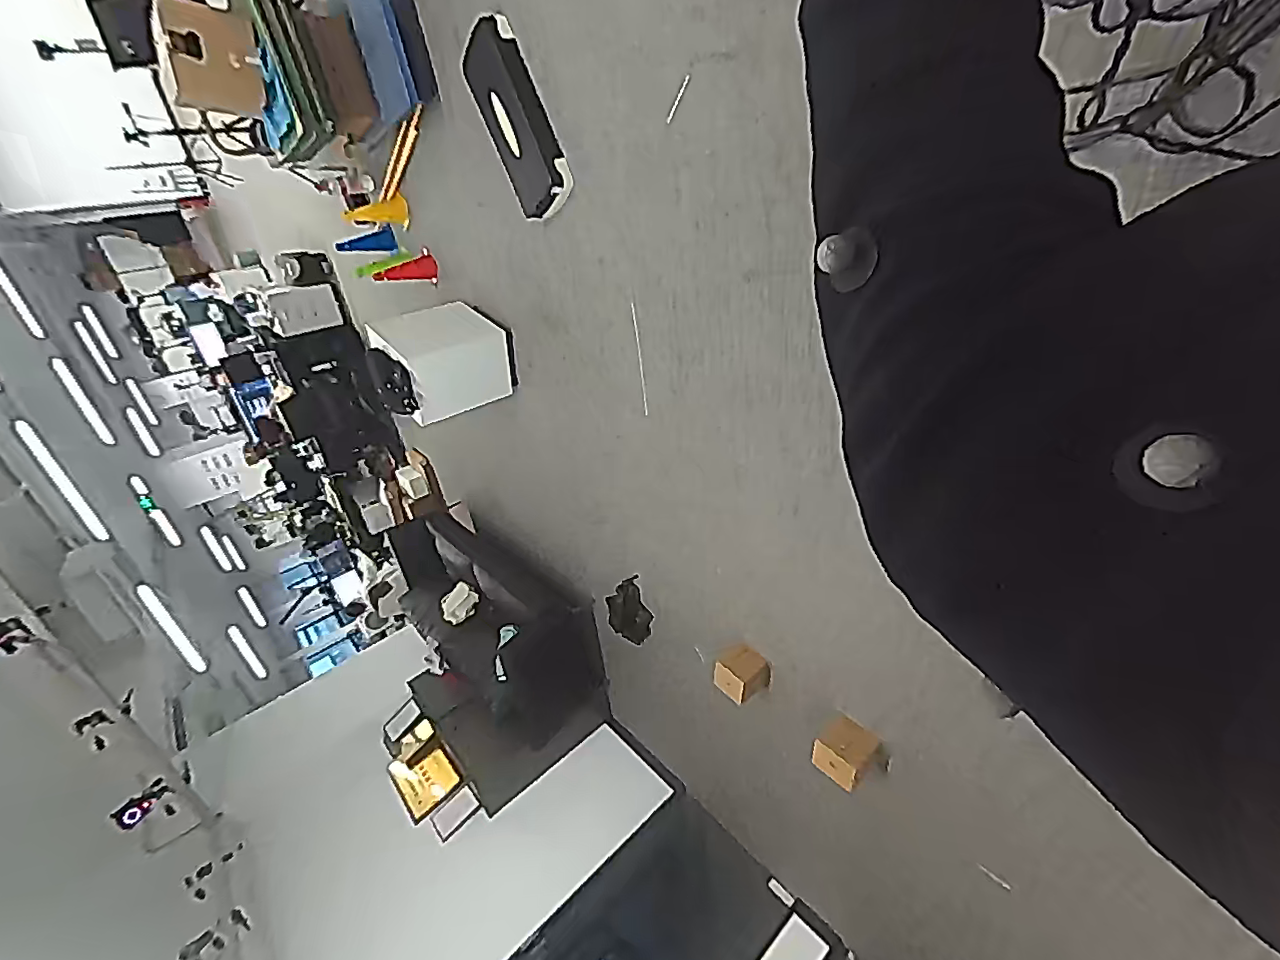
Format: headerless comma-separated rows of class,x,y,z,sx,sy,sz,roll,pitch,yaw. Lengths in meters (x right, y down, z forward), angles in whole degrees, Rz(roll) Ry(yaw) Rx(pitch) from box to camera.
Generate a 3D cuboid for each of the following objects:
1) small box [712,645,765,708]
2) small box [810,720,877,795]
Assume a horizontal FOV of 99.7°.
small box,0.451,0.890,2.468,0.168,0.176,0.179,33,138,40
small box,0.796,1.077,2.121,0.179,0.176,0.168,28,134,41
